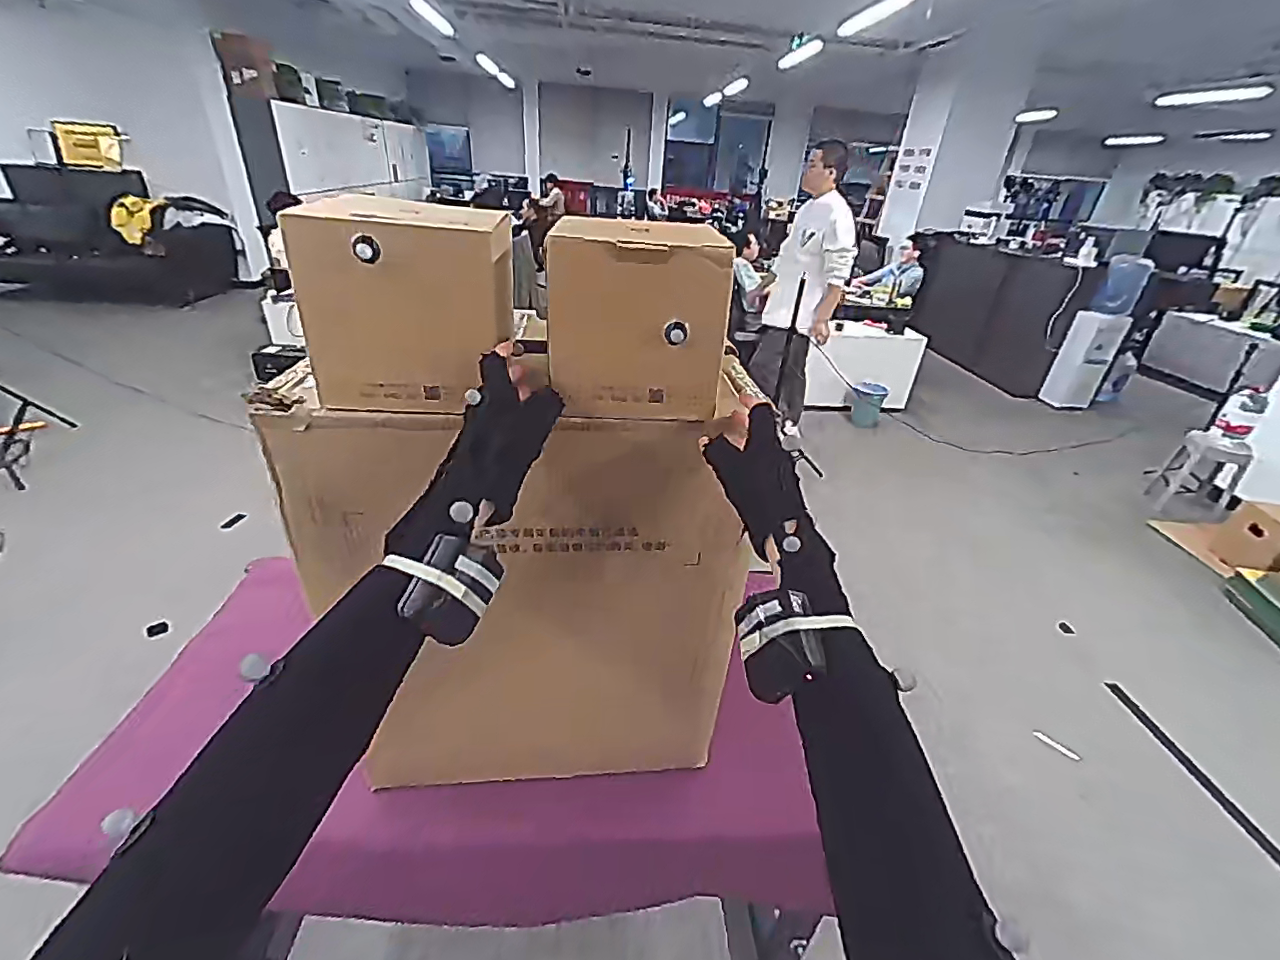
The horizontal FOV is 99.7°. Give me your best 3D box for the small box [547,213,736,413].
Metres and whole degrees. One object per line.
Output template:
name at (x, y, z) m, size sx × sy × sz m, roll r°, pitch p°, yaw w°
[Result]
small box at (-0.004, -0.178, 0.569) m, size 0.168 × 0.176 × 0.179 m, roll 2°, pitch 30°, yaw -4°
